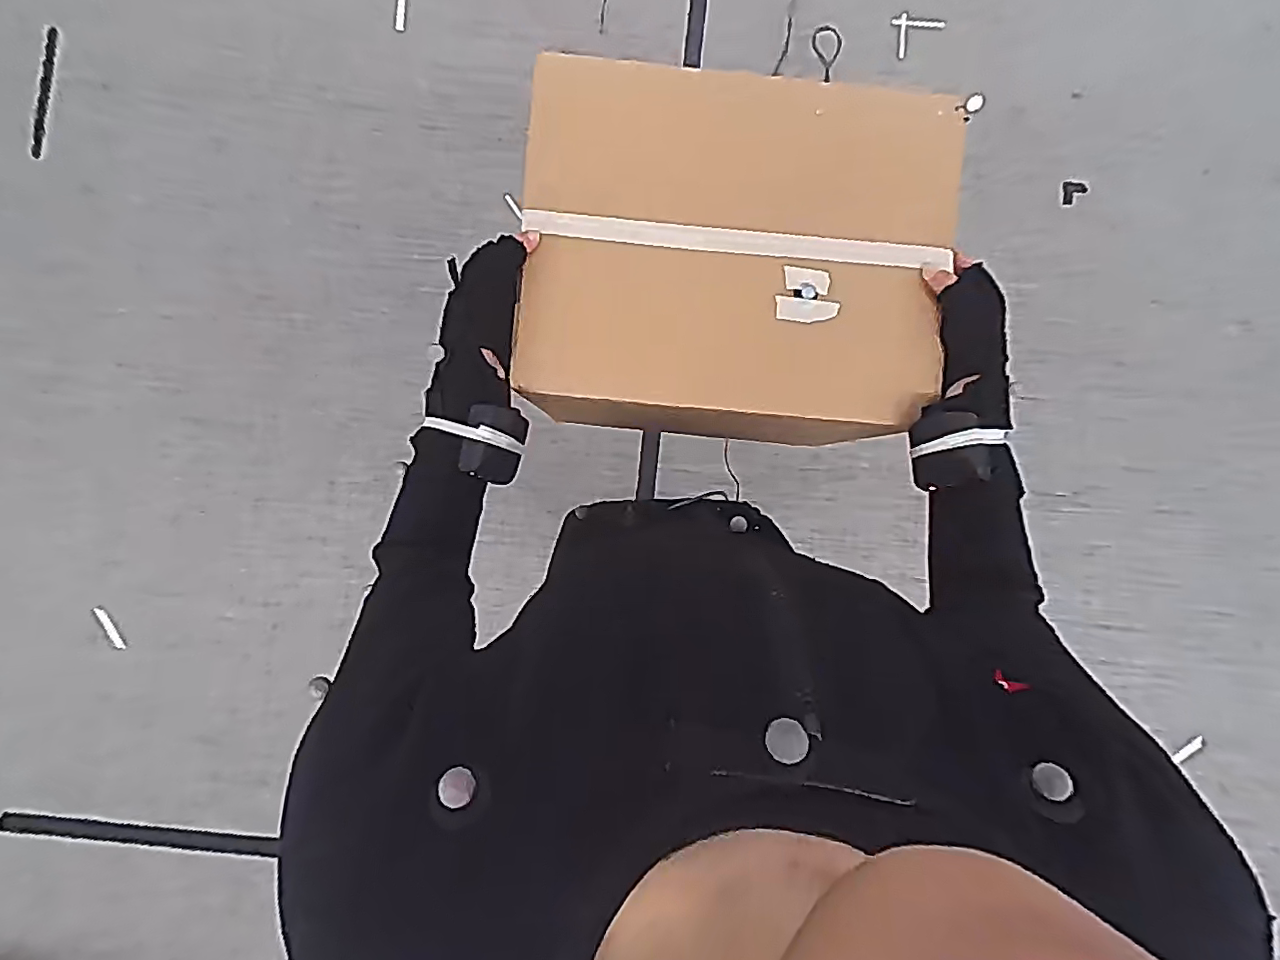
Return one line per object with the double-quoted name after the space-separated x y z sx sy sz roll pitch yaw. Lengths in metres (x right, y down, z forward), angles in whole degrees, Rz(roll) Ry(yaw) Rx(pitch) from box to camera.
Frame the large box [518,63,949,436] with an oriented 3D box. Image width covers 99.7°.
0.085 -0.230 0.667 0.408 0.320 0.320 5 92 -2 "large box"
